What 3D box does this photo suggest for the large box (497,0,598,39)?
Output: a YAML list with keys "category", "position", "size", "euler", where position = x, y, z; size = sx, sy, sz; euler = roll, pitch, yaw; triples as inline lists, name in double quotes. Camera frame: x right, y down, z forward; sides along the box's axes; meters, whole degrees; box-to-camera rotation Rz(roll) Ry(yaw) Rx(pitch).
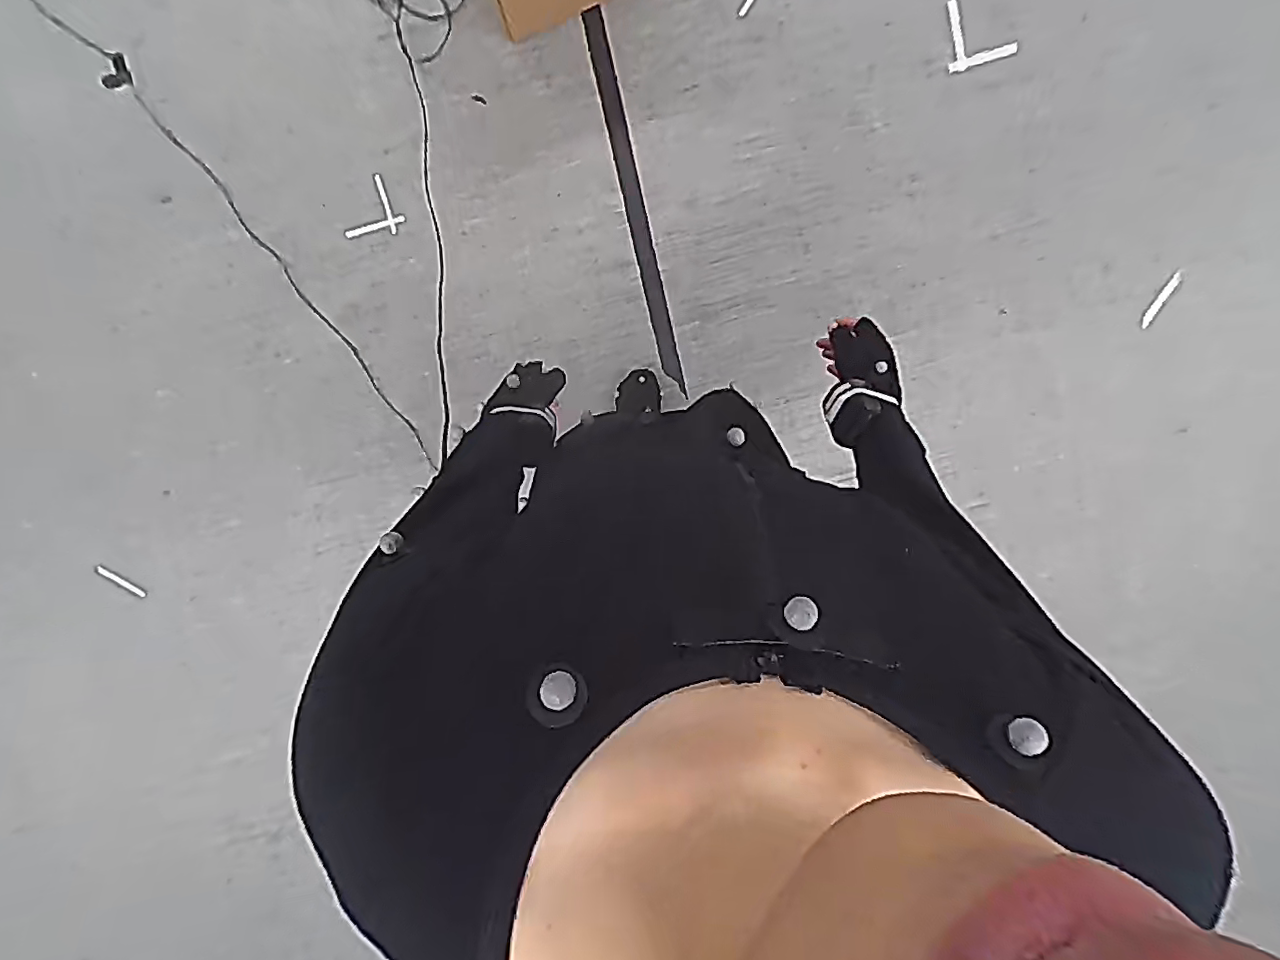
- category: "large box"
  position: [-0.174, -1.240, 1.117]
  size: [0.408, 0.320, 0.320]
  euler: [-23, 100, 3]
